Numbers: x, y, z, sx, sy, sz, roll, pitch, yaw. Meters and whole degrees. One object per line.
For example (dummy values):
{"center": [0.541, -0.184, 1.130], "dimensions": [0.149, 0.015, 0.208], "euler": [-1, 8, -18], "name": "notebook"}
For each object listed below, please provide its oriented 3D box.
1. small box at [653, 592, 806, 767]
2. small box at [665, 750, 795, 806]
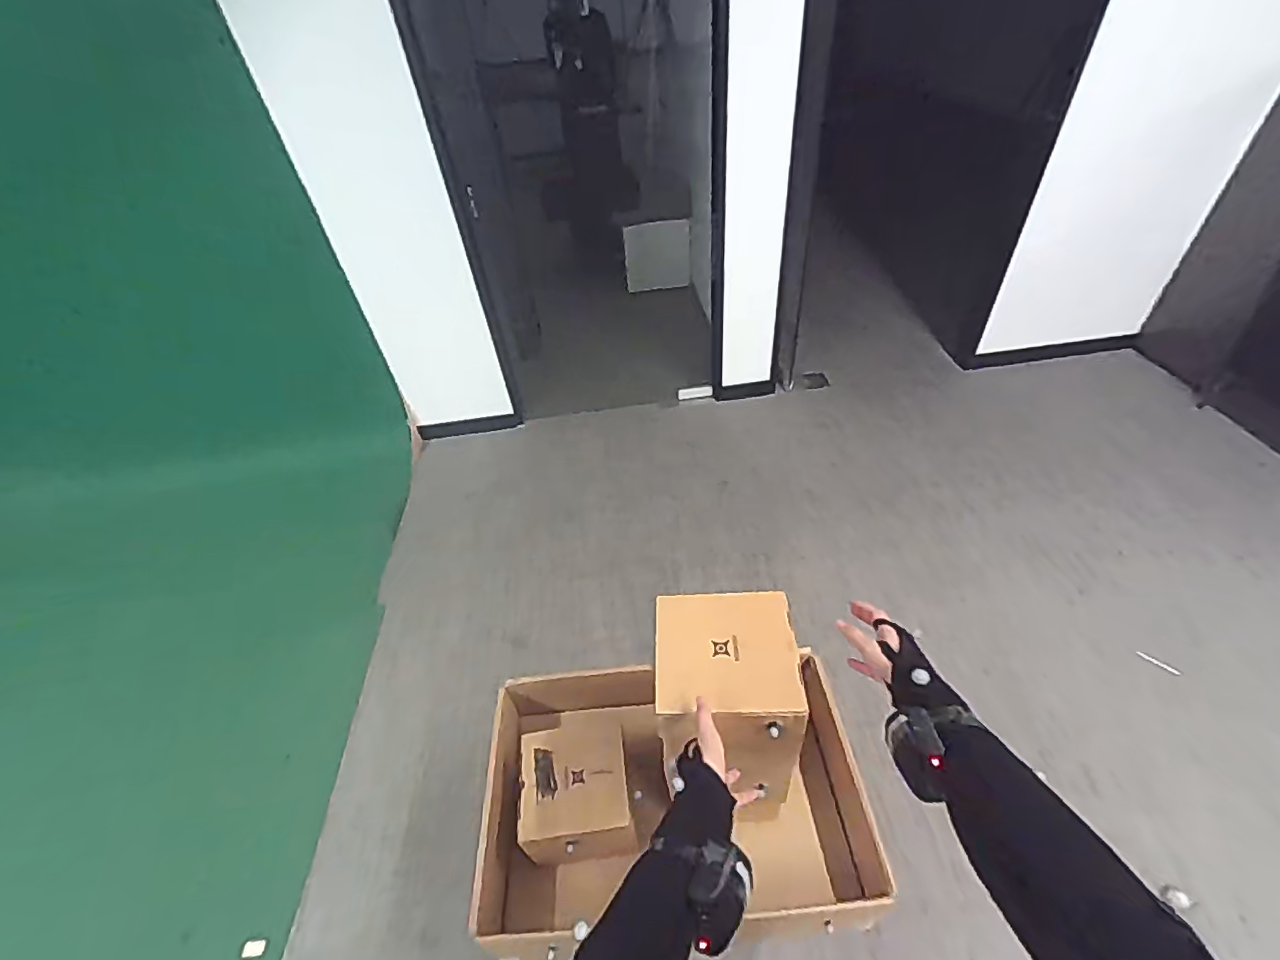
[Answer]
{"center": [0.115, 0.268, 0.722], "dimensions": [0.179, 0.176, 0.168], "euler": [-3, 43, 6], "name": "small box"}
{"center": [0.130, 0.386, 0.833], "dimensions": [0.179, 0.176, 0.168], "euler": [-5, 43, 6], "name": "small box"}
